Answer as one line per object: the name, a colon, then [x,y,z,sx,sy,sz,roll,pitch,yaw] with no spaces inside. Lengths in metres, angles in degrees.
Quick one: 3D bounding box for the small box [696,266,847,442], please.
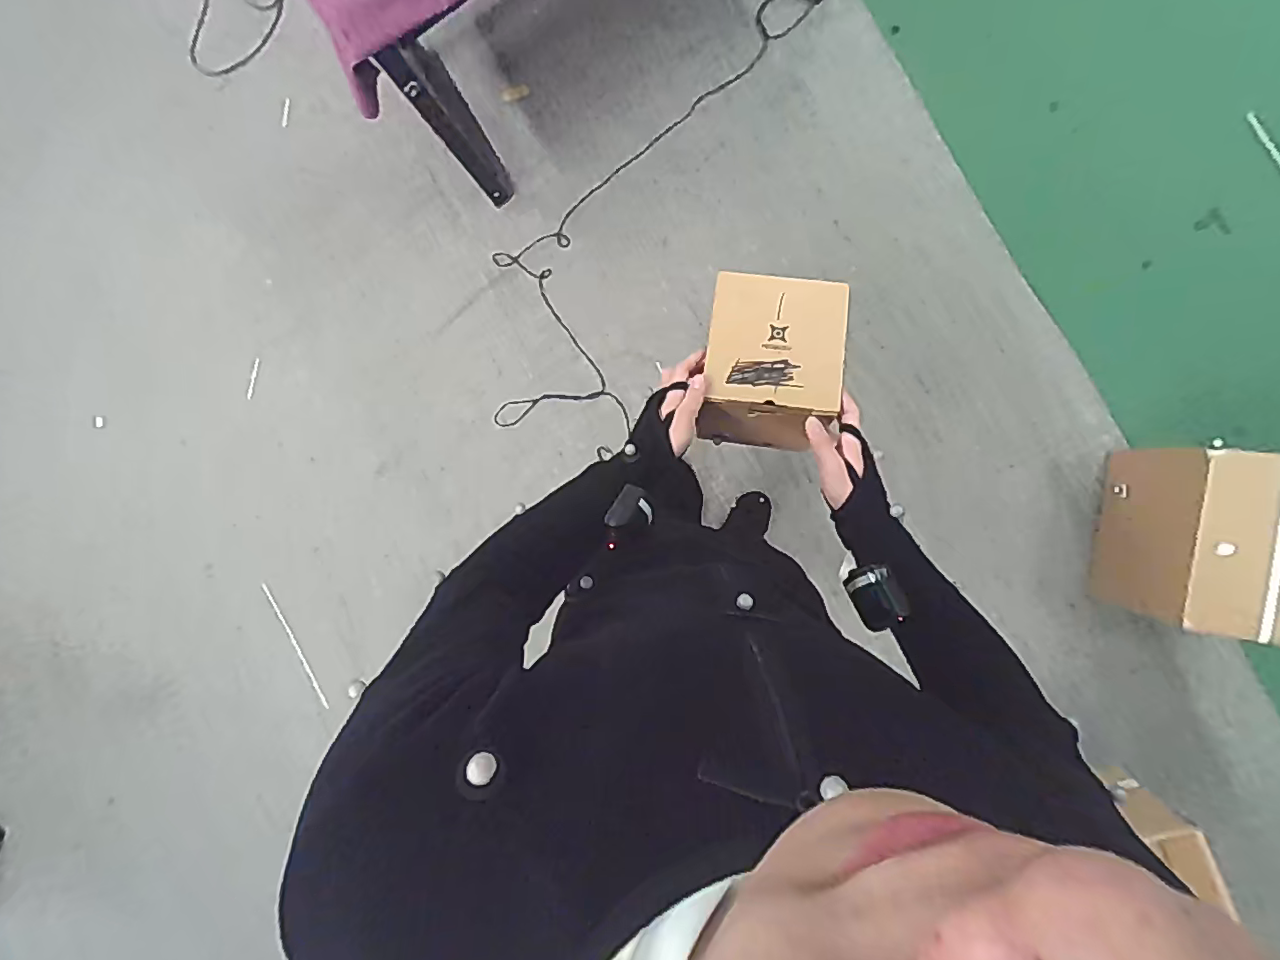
small box: [0.168,-0.160,0.734,0.168,0.176,0.179,7,78,5]
